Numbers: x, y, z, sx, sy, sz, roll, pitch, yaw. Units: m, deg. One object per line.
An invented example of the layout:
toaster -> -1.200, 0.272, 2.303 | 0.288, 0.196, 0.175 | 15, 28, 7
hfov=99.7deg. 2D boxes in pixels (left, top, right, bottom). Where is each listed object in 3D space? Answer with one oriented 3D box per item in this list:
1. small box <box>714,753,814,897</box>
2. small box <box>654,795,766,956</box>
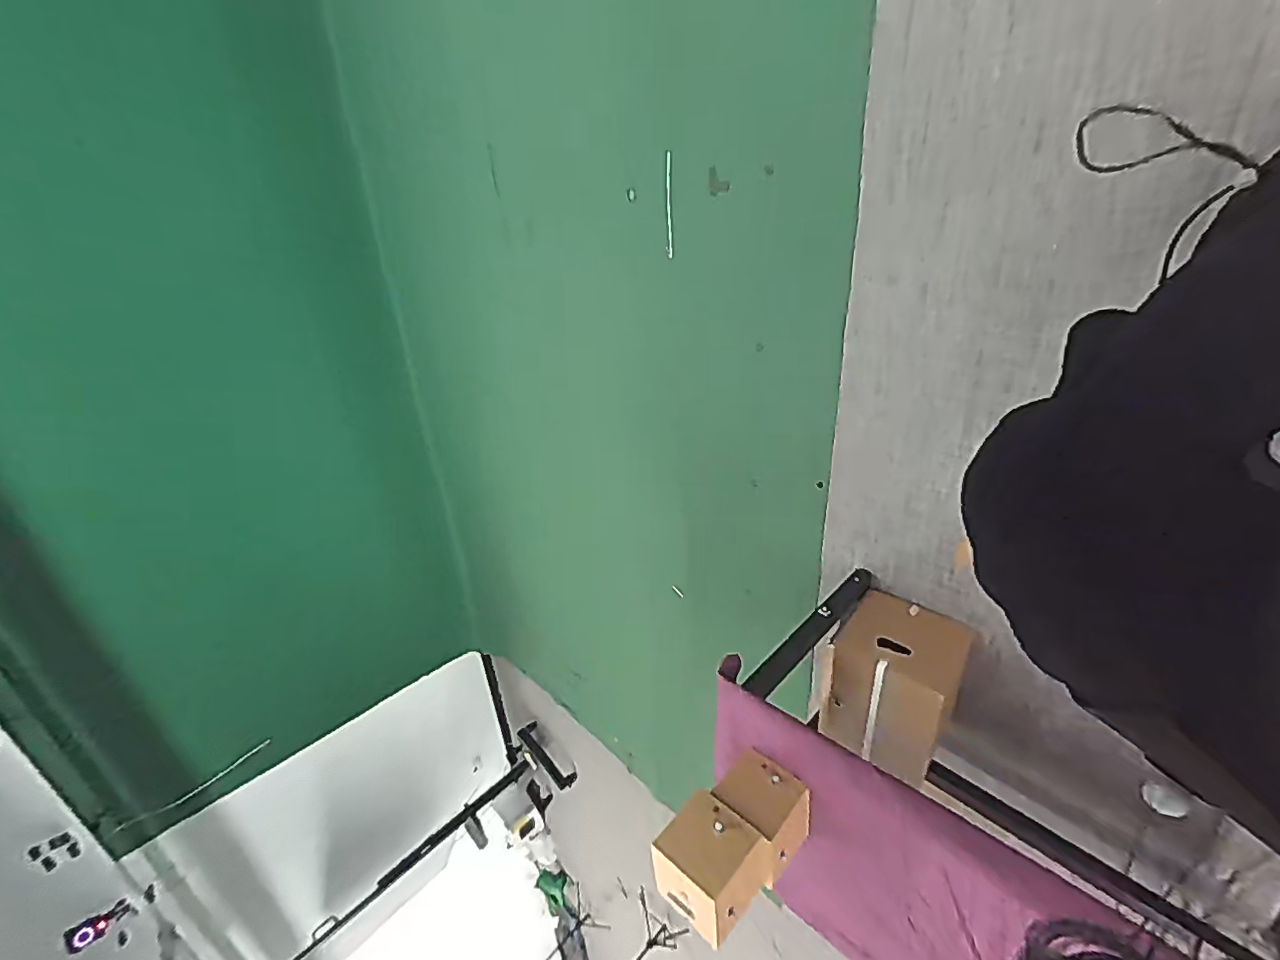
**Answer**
small box -> 0.281, 0.775, 1.231 | 0.168, 0.176, 0.179 | 18, 124, 42
small box -> 0.152, 0.819, 1.136 | 0.168, 0.176, 0.179 | 17, 124, 41
